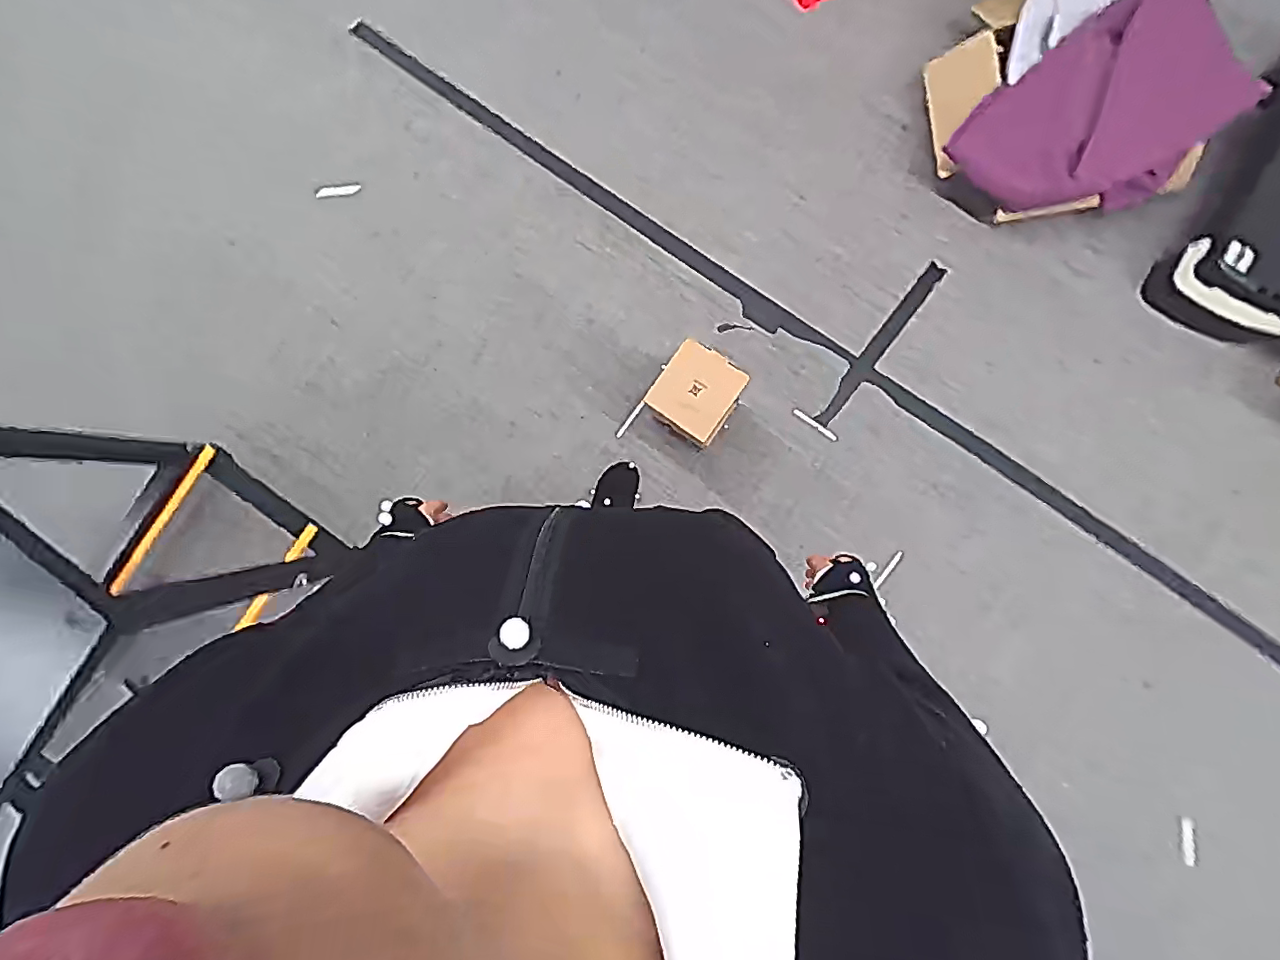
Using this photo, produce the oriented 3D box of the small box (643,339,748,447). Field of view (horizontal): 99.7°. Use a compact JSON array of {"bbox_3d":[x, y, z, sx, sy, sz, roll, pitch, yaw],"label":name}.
[{"bbox_3d":[0.125,-0.193,1.252,0.168,0.176,0.179,36,93,5],"label":"small box"}]
